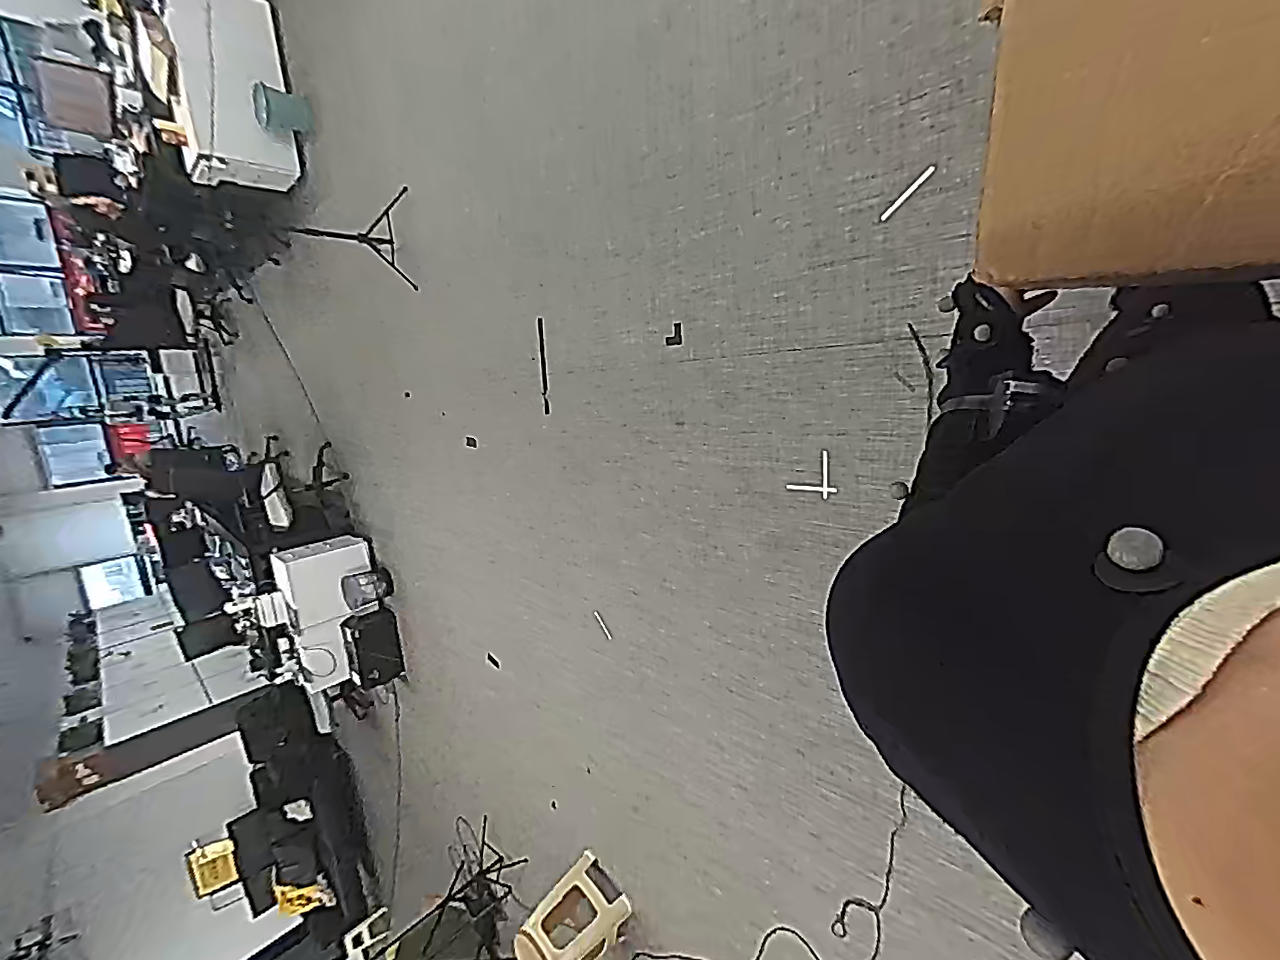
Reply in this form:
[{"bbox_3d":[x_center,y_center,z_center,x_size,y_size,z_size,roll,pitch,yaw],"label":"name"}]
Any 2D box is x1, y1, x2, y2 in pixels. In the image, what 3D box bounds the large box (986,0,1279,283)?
[{"bbox_3d":[0.424,-0.274,0.248,0.408,0.320,0.320,10,111,36],"label":"large box"}]
